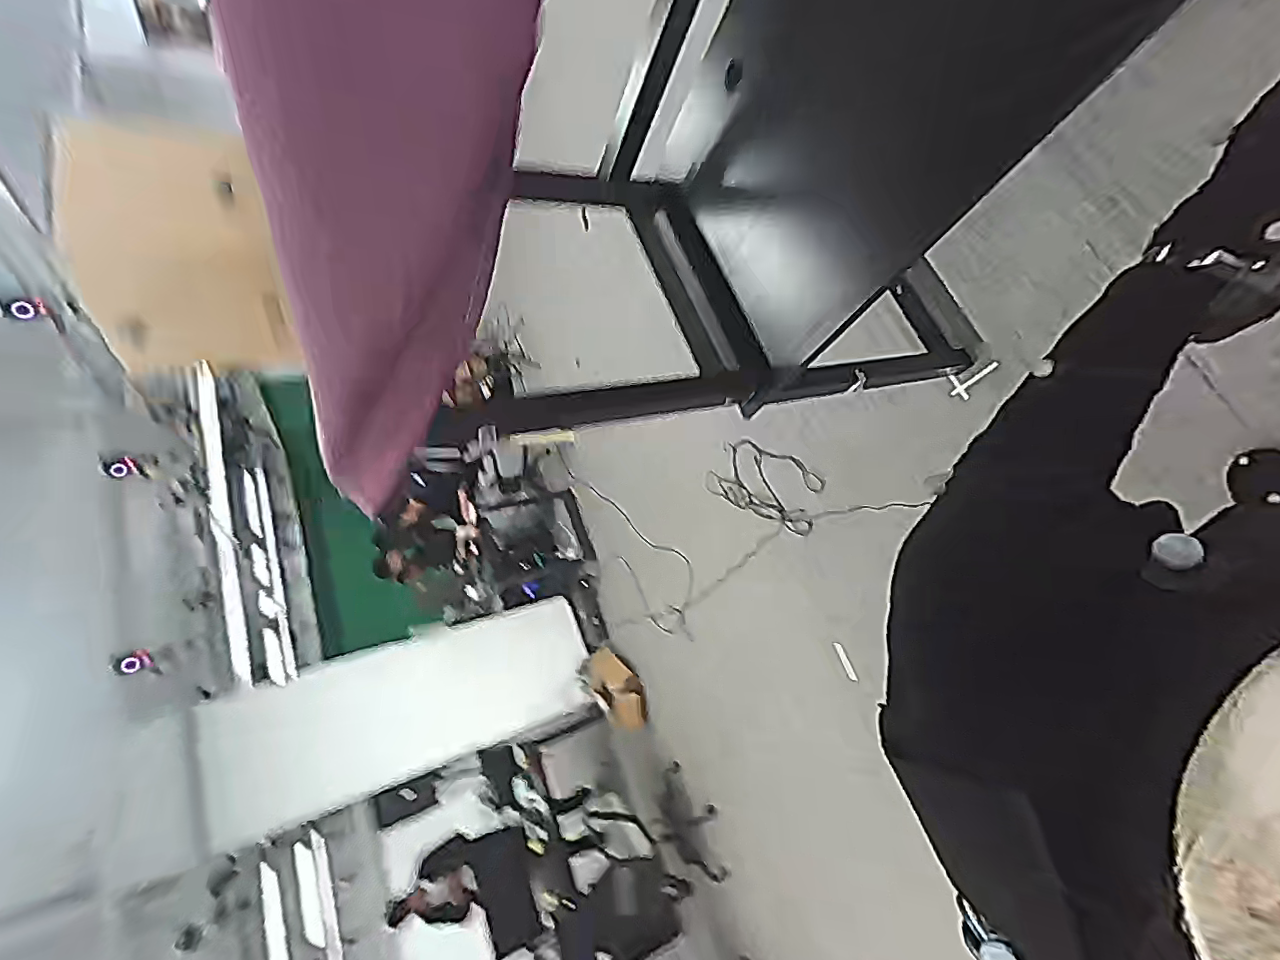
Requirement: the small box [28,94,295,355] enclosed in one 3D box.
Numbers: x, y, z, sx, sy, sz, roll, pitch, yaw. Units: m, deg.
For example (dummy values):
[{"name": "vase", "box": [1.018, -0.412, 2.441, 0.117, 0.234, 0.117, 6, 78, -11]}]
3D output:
[{"name": "small box", "box": [-0.472, -0.250, 0.562, 0.168, 0.176, 0.179, -51, 55, 55]}]
